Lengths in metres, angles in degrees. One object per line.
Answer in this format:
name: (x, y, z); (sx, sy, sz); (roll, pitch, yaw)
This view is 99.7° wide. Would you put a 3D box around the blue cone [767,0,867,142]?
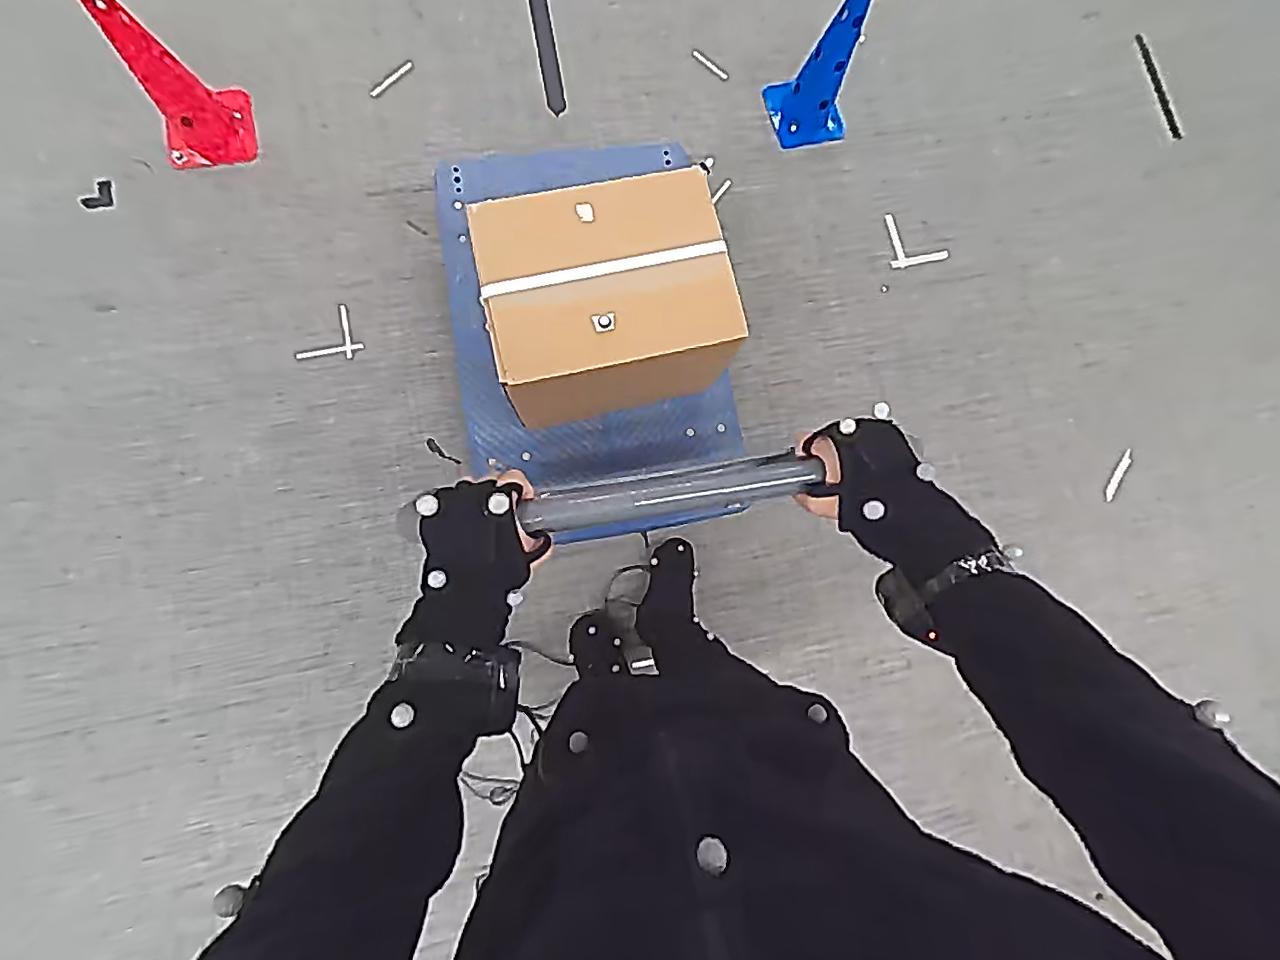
blue cone: (0.479, -1.063, 1.351); (0.193, 0.380, 0.192); (-14, 82, -8)
